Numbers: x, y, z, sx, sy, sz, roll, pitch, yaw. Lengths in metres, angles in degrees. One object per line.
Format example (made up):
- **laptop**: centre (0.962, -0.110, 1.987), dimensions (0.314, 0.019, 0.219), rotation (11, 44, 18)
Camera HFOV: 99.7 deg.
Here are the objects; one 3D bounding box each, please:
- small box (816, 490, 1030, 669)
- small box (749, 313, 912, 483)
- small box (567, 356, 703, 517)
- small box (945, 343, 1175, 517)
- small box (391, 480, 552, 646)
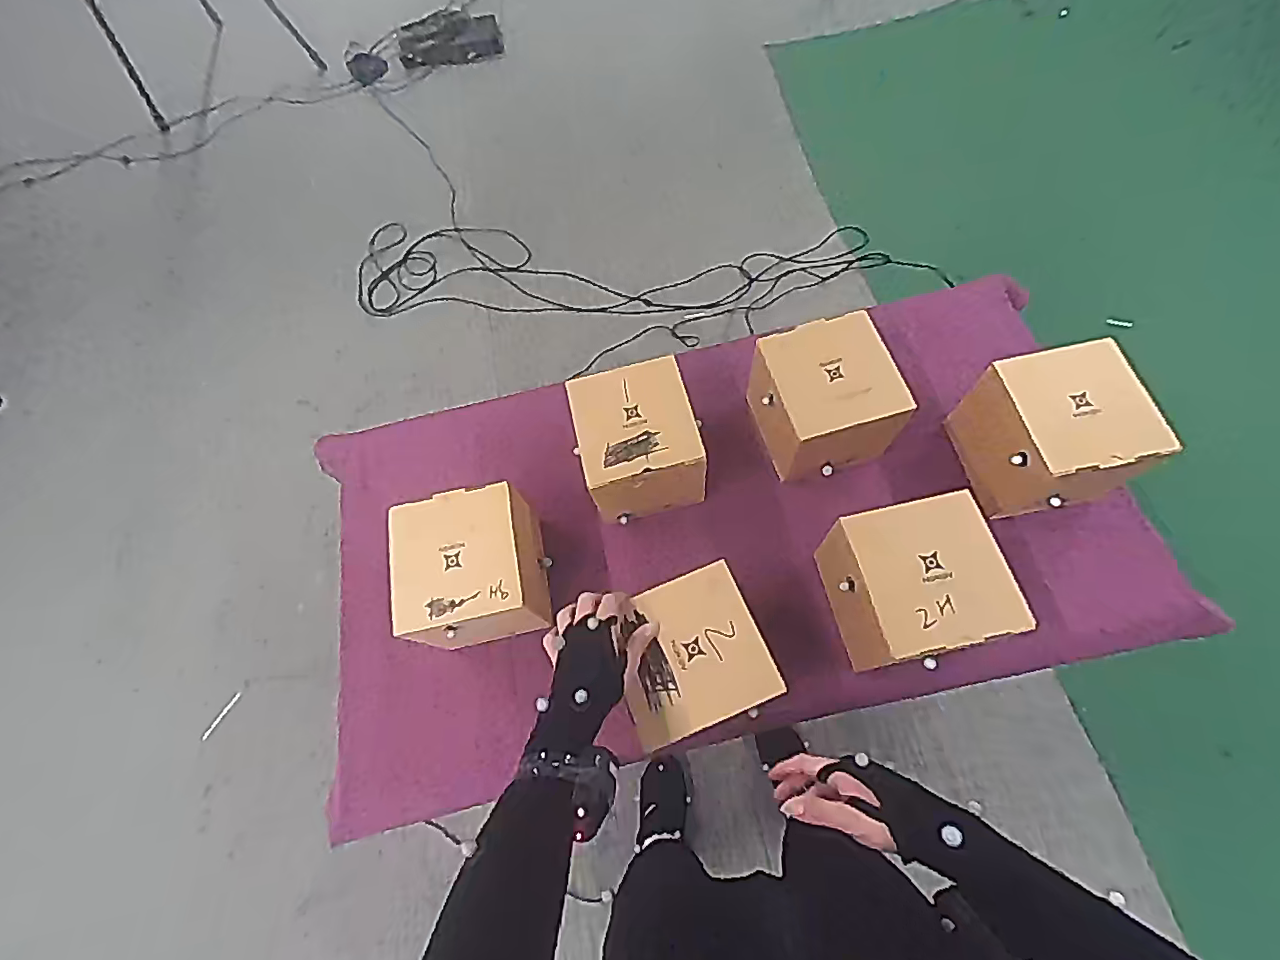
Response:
- **small box**: centre (0.348, 0.137, 0.710), dimensions (0.168, 0.176, 0.179), rotation (-12, 65, 1)
- **small box**: centre (0.275, -0.118, 0.830), dimensions (0.168, 0.176, 0.179), rotation (-15, 68, 0)
- **small box**: centre (-0.003, -0.054, 0.827), dimensions (0.168, 0.176, 0.179), rotation (-14, 66, -1)
- **small box**: centre (0.577, -0.065, 0.777), dimensions (0.168, 0.176, 0.179), rotation (-11, 67, 1)
- **small box**: centre (-0.232, 0.125, 0.769), dimensions (0.168, 0.176, 0.179), rotation (-13, 66, 1)
